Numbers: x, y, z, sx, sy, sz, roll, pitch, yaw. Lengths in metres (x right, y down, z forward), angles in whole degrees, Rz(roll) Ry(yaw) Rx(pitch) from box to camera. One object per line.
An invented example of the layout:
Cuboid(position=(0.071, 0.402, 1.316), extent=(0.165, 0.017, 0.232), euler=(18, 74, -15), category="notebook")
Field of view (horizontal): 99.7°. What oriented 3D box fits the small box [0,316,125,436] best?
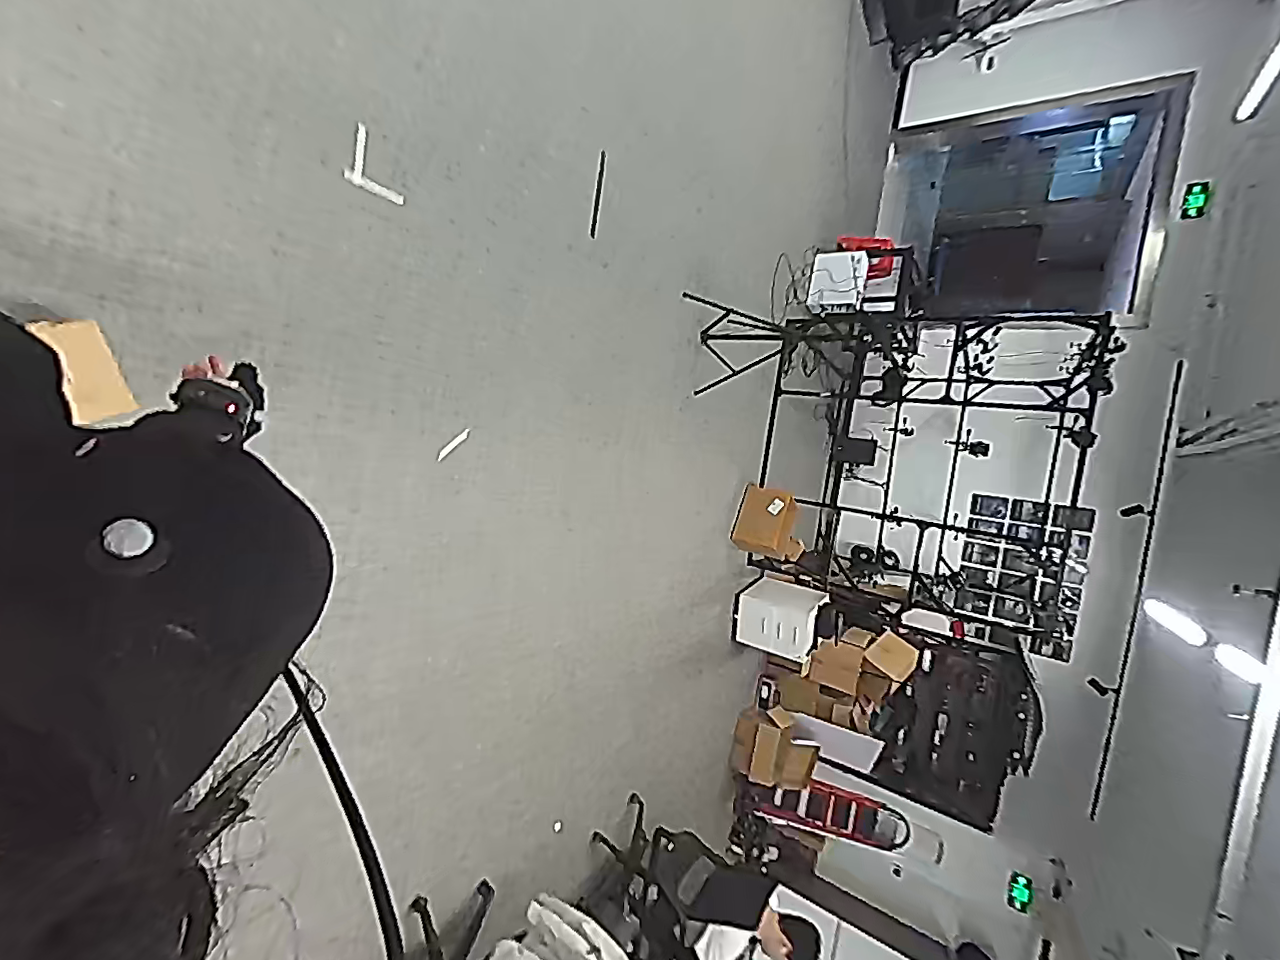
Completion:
Cuboid(position=(-1.104, -0.195, 0.984), extent=(0.168, 0.176, 0.179), euler=(-35, 128, -47), category="small box")
